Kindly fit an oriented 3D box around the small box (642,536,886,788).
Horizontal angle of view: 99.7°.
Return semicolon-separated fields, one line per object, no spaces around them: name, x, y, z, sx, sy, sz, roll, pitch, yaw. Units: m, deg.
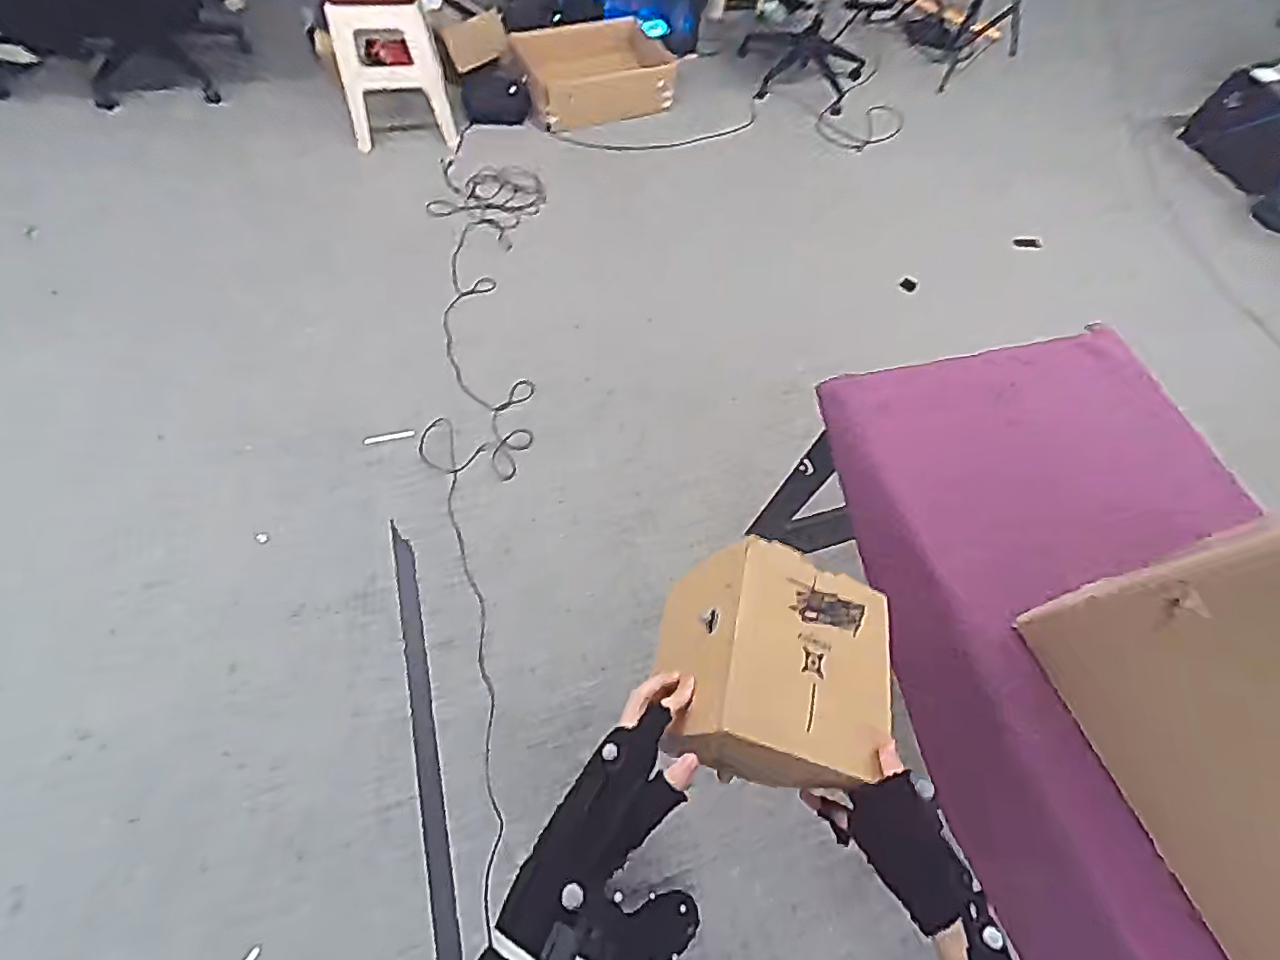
small box;0.117;0.189;0.541;0.168;0.176;0.179;24;54;-11
